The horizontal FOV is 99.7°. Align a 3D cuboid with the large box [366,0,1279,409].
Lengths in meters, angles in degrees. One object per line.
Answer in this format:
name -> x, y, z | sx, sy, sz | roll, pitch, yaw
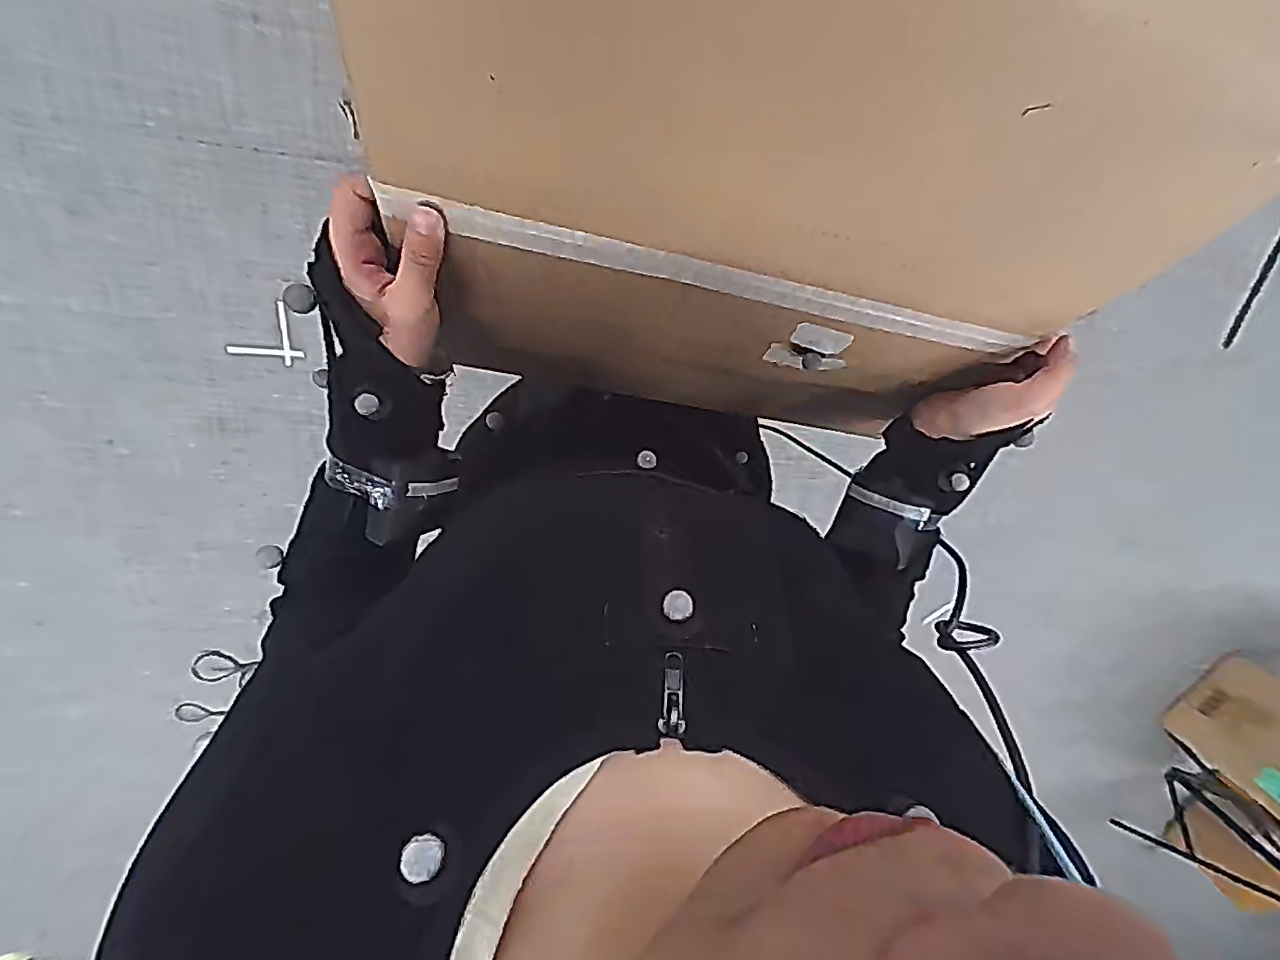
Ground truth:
large box -> 0.082, -0.274, 0.338 | 0.408, 0.320, 0.320 | 7, 70, -13
